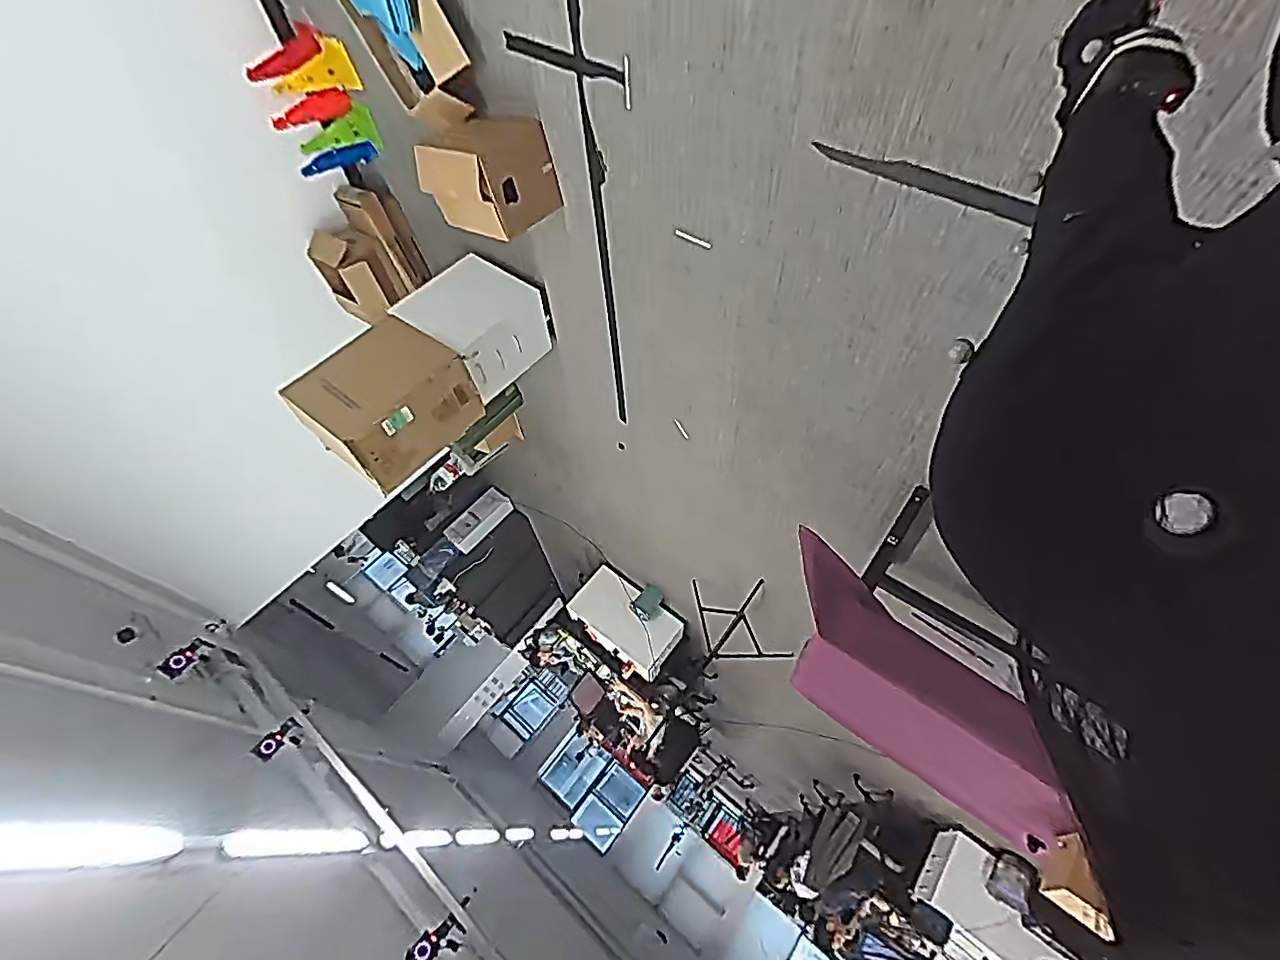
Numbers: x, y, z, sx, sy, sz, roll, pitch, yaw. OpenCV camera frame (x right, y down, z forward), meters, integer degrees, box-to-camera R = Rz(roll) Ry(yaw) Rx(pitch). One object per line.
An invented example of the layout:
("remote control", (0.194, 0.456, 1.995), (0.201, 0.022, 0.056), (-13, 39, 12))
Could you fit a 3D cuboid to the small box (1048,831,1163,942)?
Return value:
("small box", (1.240, 1.077, 1.443), (0.168, 0.176, 0.179), (28, 154, 31))
